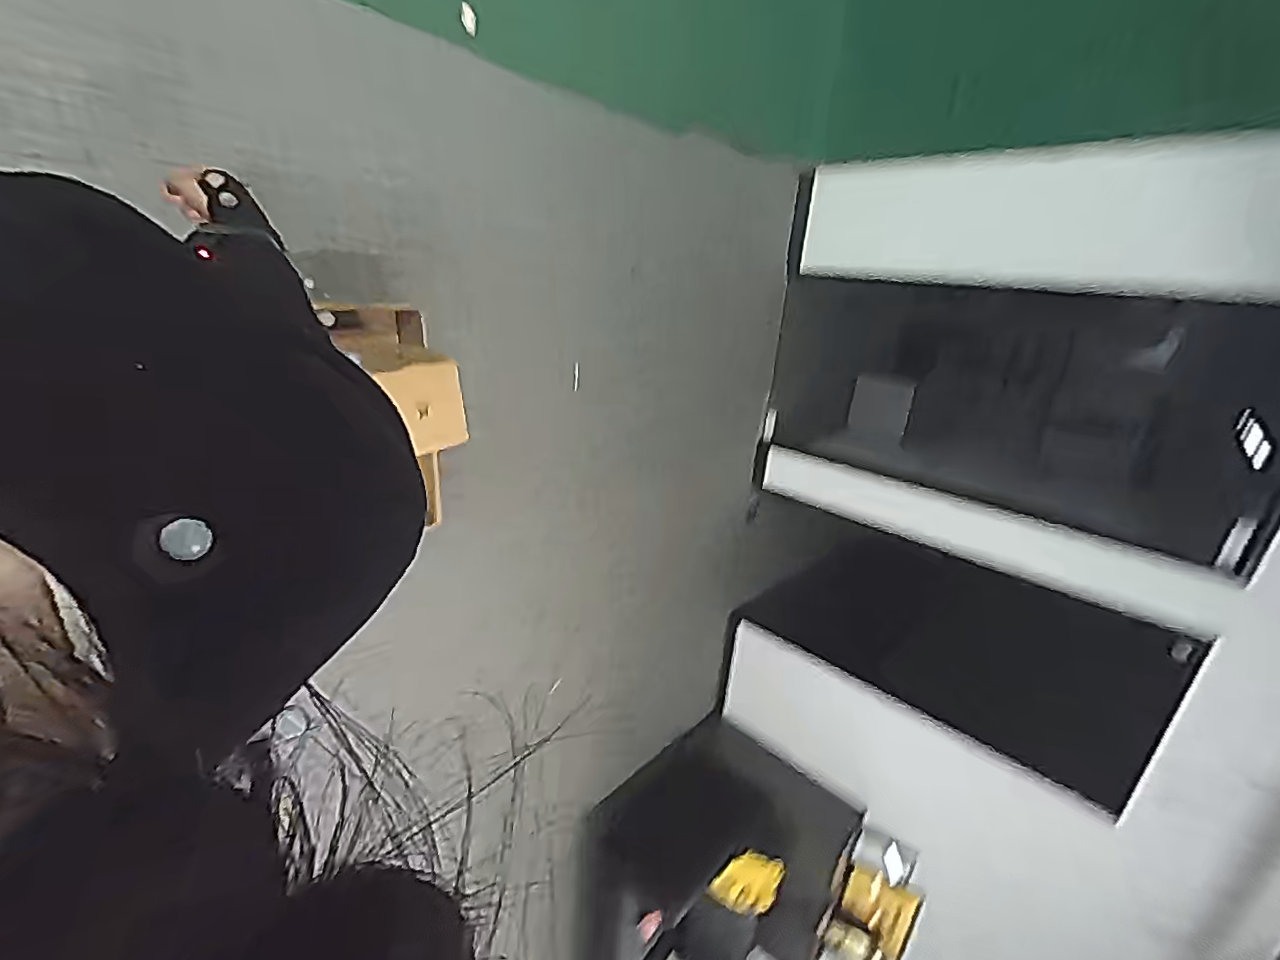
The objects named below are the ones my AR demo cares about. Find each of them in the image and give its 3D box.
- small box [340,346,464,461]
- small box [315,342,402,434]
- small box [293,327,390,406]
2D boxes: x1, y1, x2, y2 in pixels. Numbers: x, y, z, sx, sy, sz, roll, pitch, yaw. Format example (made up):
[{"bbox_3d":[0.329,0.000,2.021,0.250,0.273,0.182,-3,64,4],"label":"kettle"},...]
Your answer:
[{"bbox_3d":[-0.483,-0.163,1.101,0.168,0.176,0.179,-23,124,-39],"label":"small box"},{"bbox_3d":[-0.601,-0.210,1.202,0.179,0.176,0.168,-16,120,-43],"label":"small box"},{"bbox_3d":[-0.712,-0.270,1.307,0.168,0.176,0.179,-21,124,-42],"label":"small box"}]
